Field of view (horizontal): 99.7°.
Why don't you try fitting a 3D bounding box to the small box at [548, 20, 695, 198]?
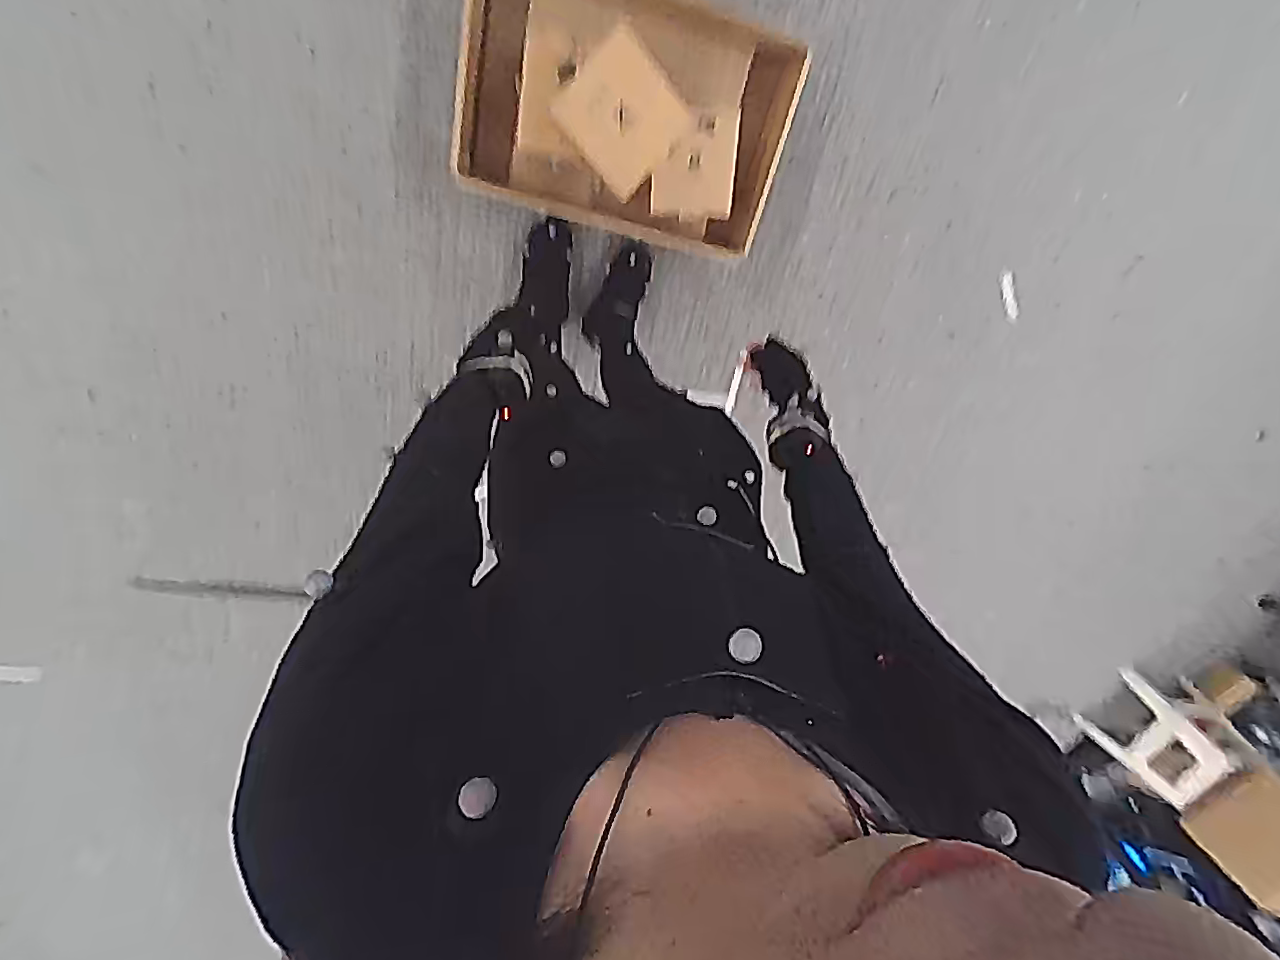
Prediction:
[{"bbox_3d":[-0.037,-0.612,0.917,0.168,0.176,0.179,-43,116,13],"label":"small box"}]
